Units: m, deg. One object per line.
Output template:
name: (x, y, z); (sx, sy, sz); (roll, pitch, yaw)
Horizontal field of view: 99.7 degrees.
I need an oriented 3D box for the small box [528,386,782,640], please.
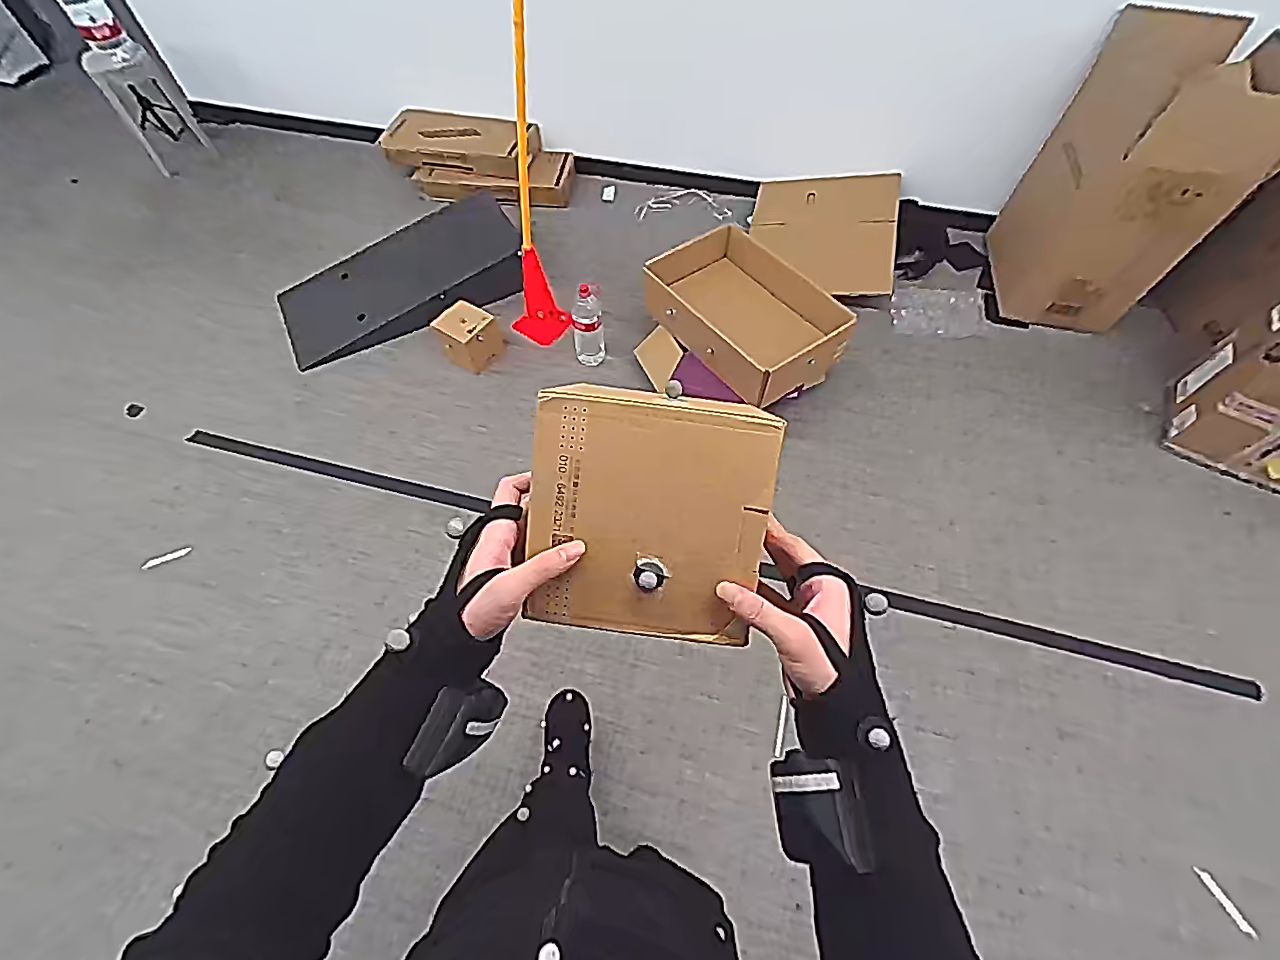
small box: (0.009, 0.014, 0.464); (0.176, 0.179, 0.168); (9, 103, 0)
